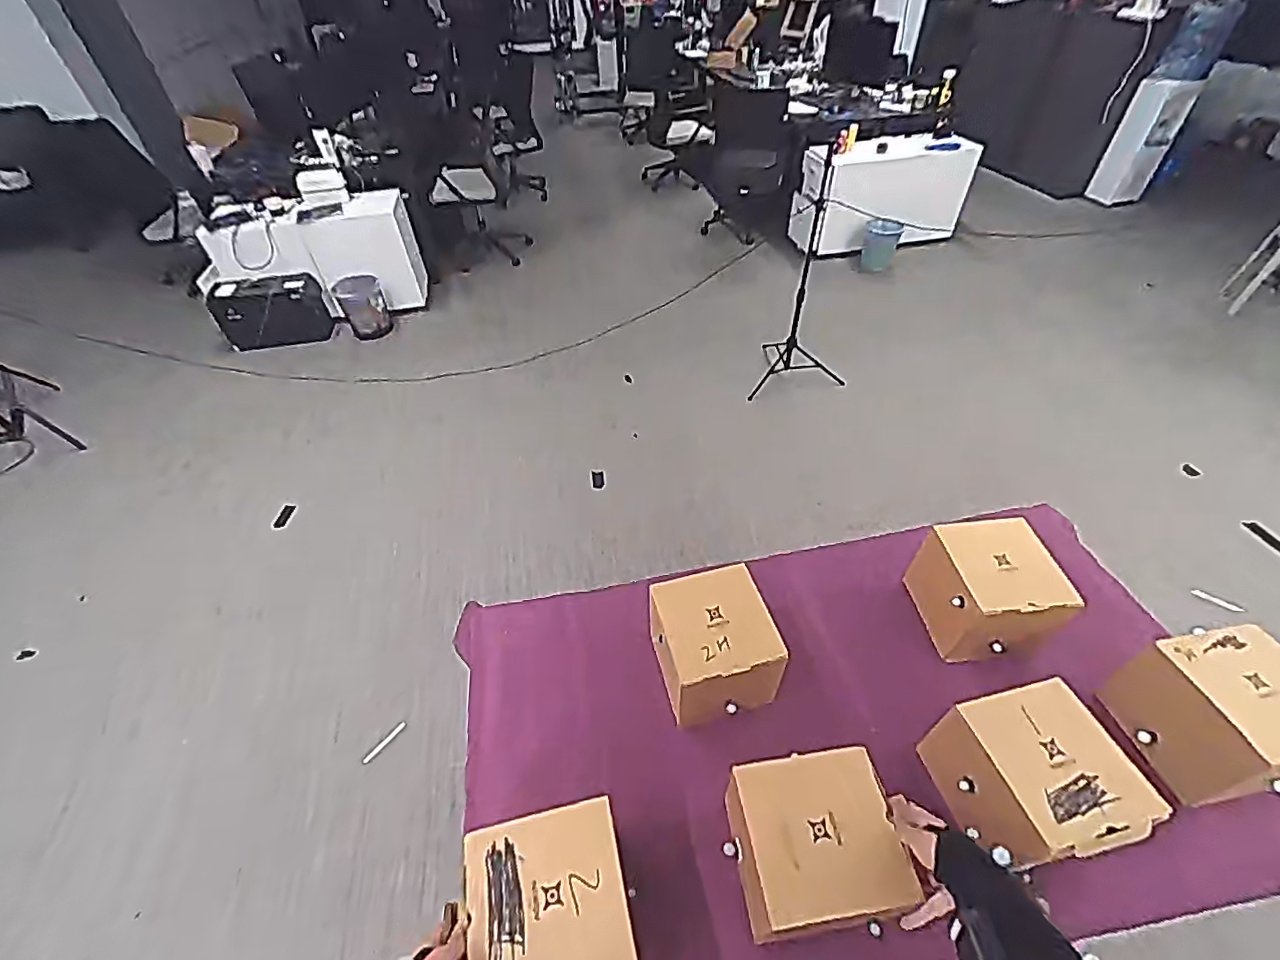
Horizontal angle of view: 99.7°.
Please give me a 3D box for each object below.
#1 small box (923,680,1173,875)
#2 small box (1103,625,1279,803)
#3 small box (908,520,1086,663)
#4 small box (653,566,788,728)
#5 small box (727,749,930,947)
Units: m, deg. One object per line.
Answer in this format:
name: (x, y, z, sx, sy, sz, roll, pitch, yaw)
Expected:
small box: (0.523, 0.403, 0.727, 0.168, 0.176, 0.179, -11, 44, -7)
small box: (0.835, 0.338, 0.772, 0.168, 0.176, 0.179, -8, 43, -4)
small box: (0.598, 0.194, 0.939, 0.168, 0.176, 0.179, -5, 46, -1)
small box: (0.119, 0.273, 0.884, 0.168, 0.176, 0.179, -12, 46, -9)
small box: (0.218, 0.464, 0.683, 0.179, 0.176, 0.168, -7, 44, -4)
